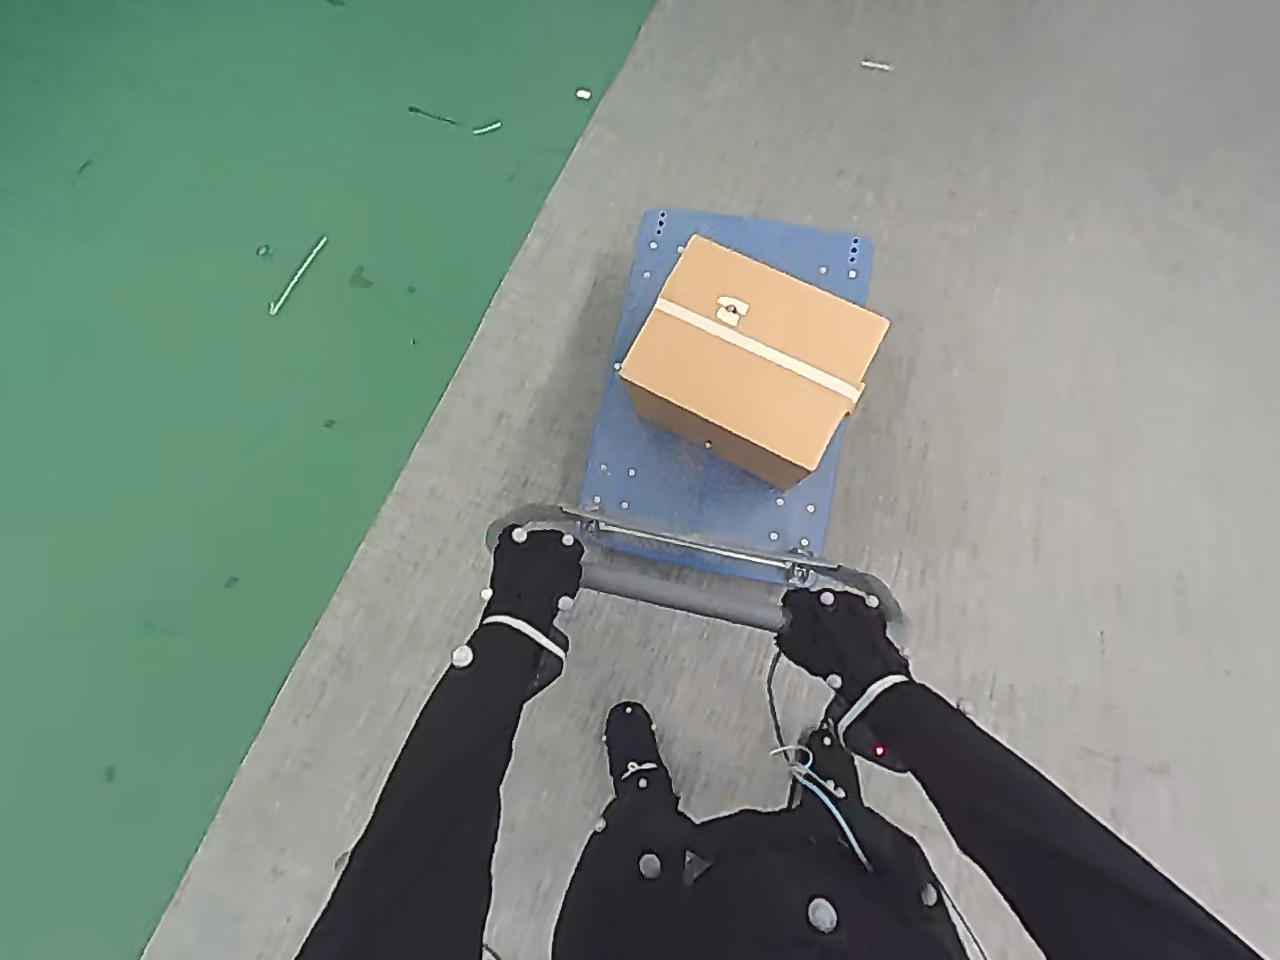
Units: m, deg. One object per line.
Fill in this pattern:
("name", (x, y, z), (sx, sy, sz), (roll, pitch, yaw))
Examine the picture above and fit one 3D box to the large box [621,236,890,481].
("large box", (0.227, -0.228, 1.135), (0.408, 0.320, 0.320), (28, 87, 10))
